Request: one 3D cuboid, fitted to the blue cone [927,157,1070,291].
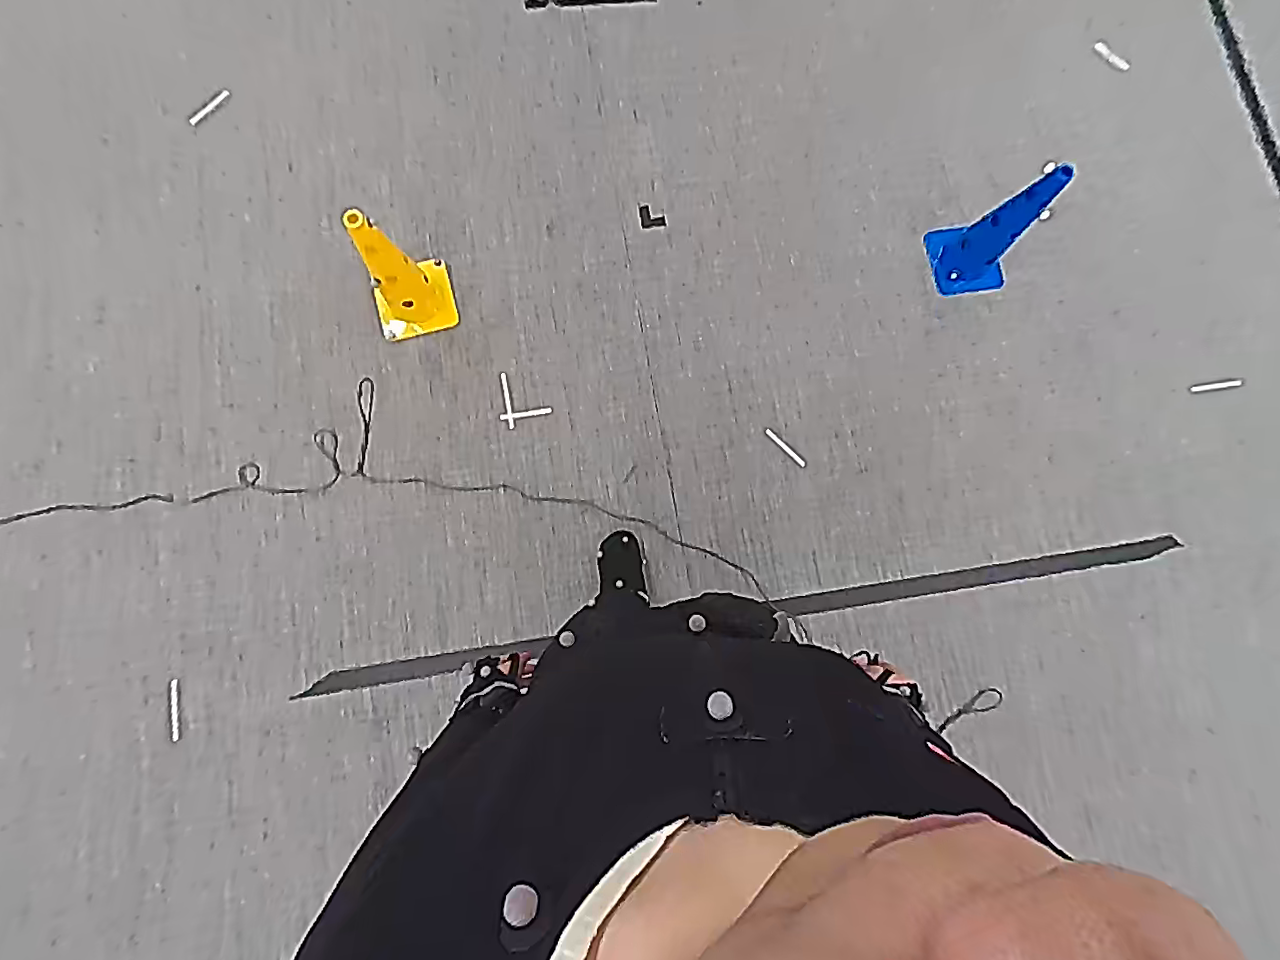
[{"bbox_3d":[0.932,-0.659,1.380,0.193,0.380,0.192,-8,81,-4],"label":"blue cone"}]
